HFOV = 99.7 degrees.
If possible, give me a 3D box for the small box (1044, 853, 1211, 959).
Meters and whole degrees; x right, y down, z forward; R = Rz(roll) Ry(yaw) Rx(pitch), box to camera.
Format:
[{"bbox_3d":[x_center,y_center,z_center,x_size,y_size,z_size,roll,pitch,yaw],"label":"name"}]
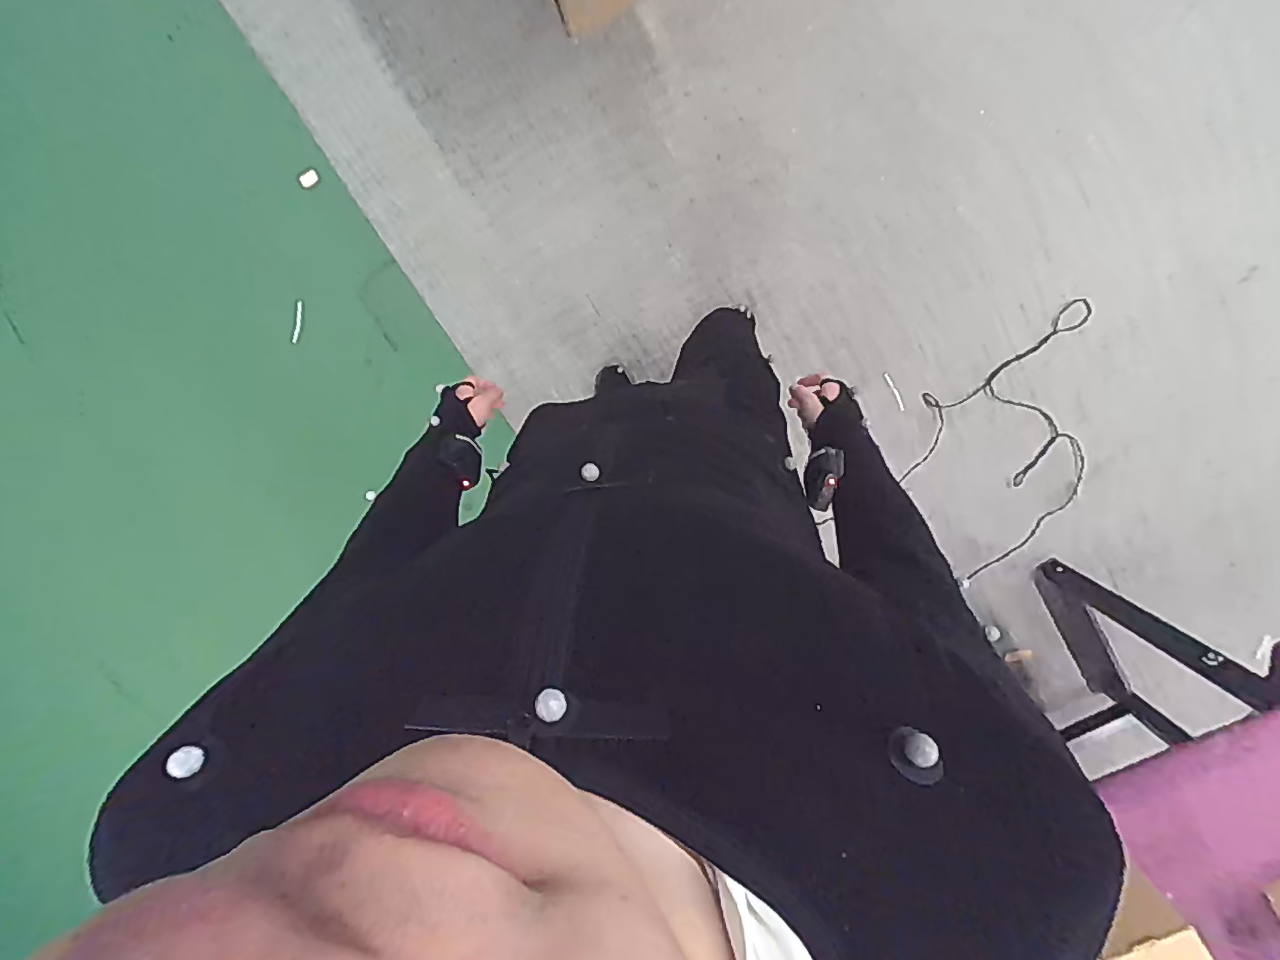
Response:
[{"bbox_3d":[0.924,0.853,1.025,0.168,0.176,0.179,-35,104,11],"label":"small box"}]
